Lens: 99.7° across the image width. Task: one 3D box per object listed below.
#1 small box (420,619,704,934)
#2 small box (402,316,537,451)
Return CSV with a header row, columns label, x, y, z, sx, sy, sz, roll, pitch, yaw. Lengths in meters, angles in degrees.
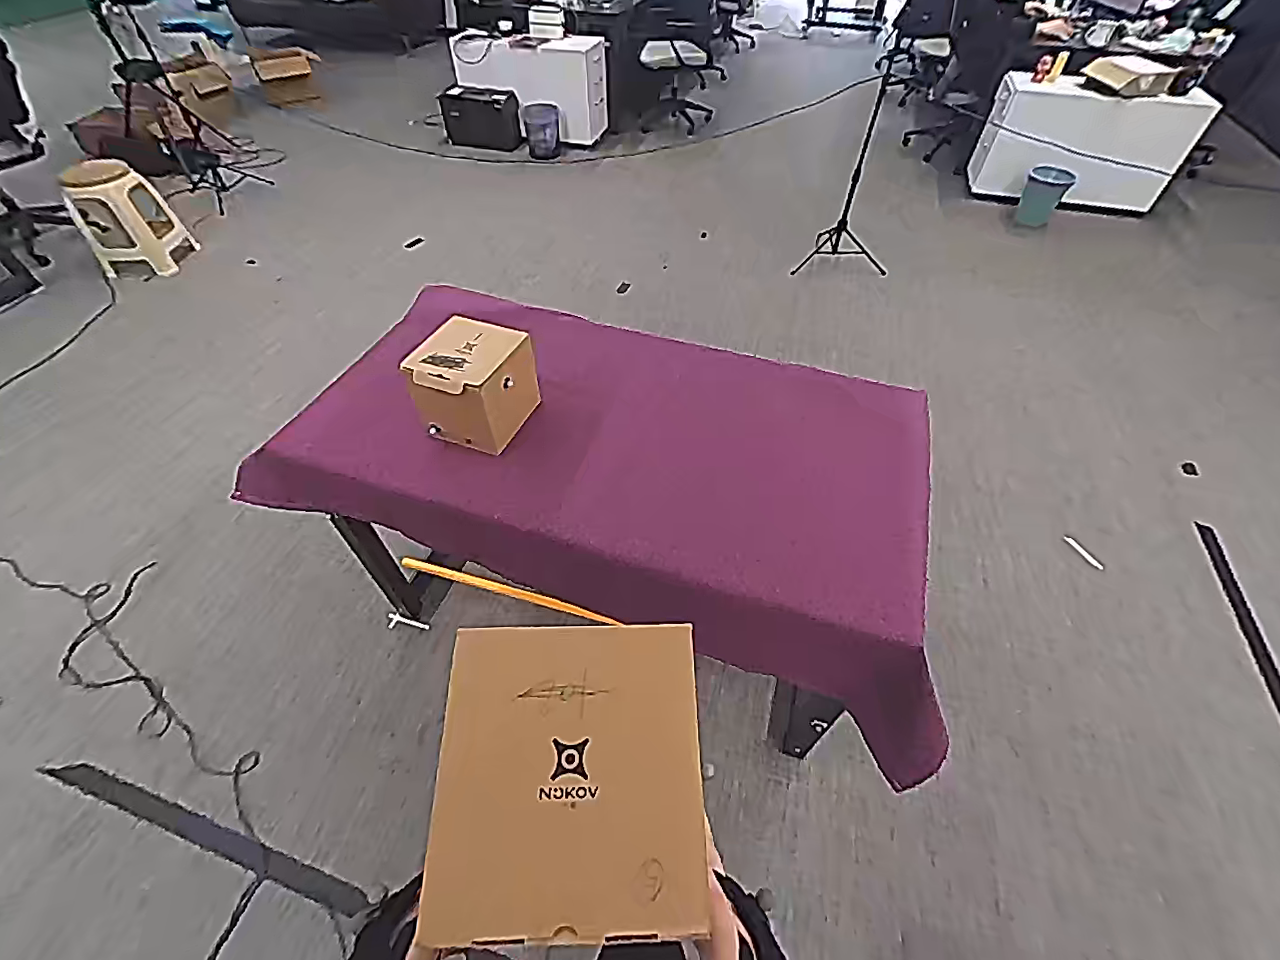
label,x,y,z,sx,sy,sz,roll,pitch,yaw
small box,-0.045,0.212,0.412,0.168,0.176,0.179,0,61,-2
small box,-0.311,-0.182,1.035,0.168,0.176,0.179,17,51,13
